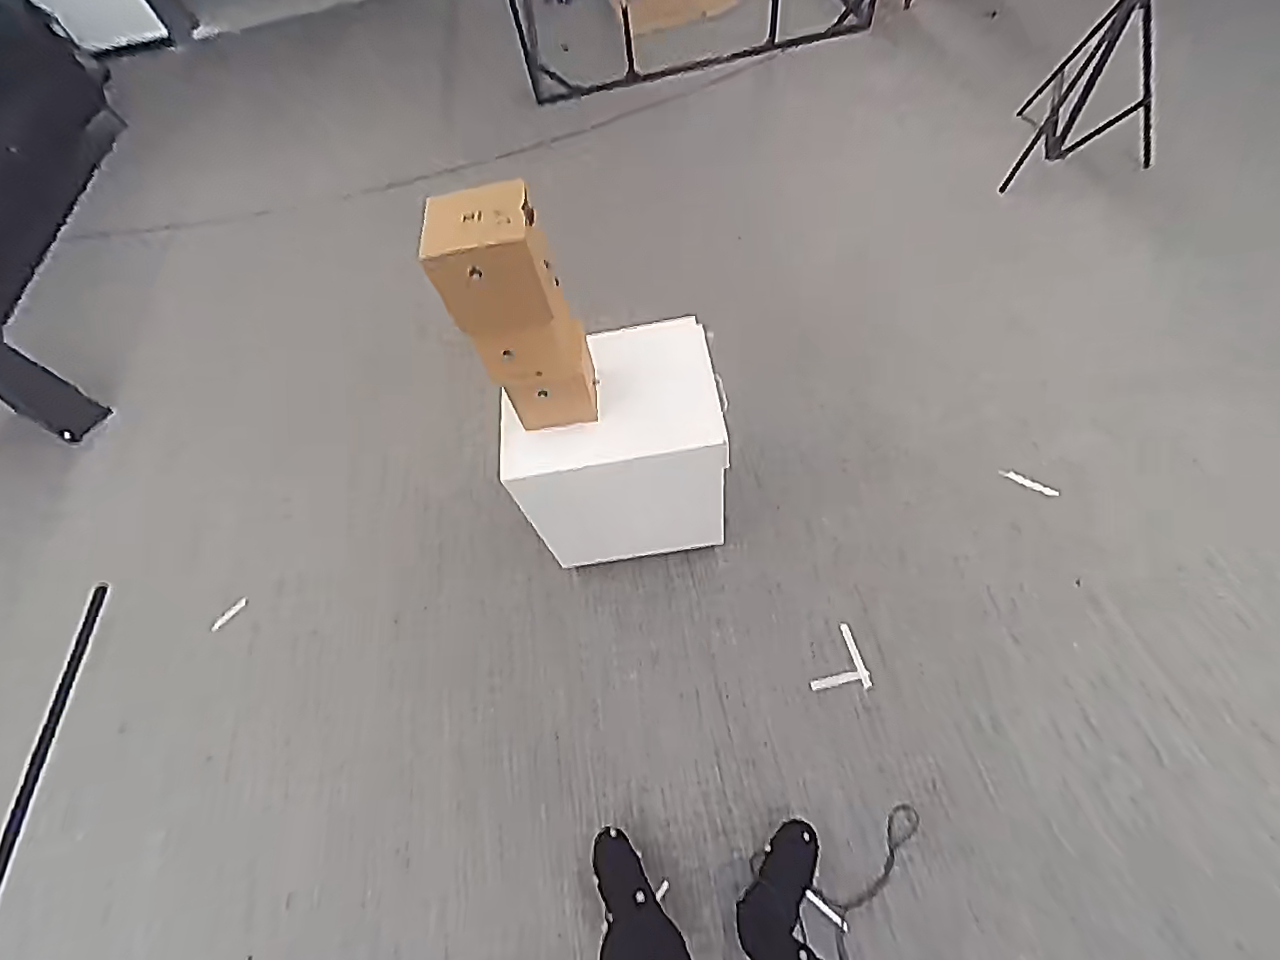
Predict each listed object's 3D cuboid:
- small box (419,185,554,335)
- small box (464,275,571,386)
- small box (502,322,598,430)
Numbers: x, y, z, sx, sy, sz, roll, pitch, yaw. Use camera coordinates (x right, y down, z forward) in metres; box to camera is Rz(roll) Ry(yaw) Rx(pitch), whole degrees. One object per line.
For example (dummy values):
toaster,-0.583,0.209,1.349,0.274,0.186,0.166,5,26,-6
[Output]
small box,-0.259,-0.377,0.947,0.179,0.176,0.168,-9,60,3
small box,-0.238,-0.307,1.096,0.168,0.176,0.179,-7,59,5
small box,-0.200,-0.230,1.234,0.179,0.176,0.168,-8,60,3
